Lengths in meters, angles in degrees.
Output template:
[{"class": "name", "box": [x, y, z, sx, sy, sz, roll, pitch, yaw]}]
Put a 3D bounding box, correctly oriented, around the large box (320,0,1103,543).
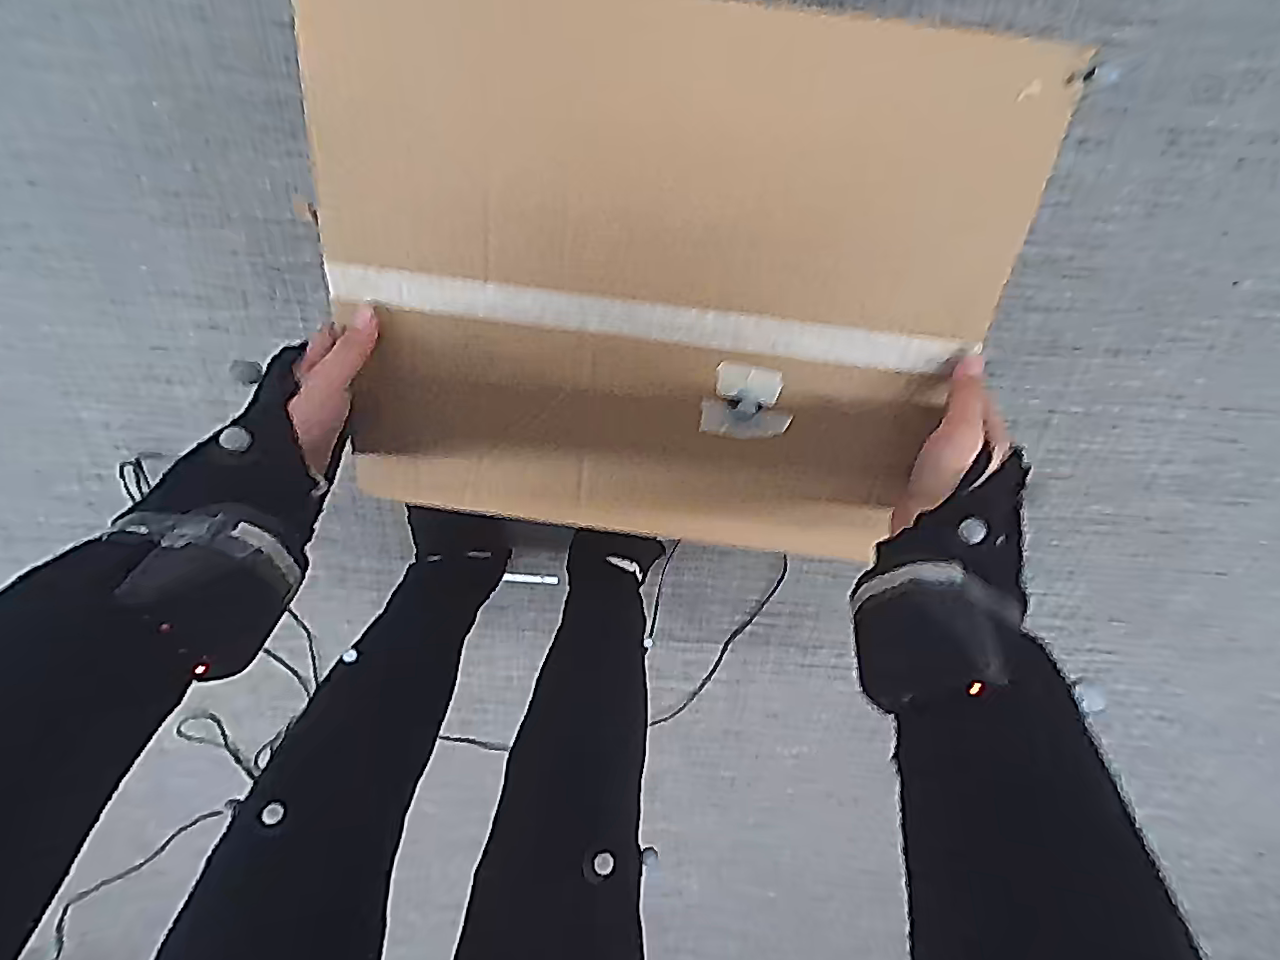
[{"class": "large box", "box": [0.024, -0.174, 0.464, 0.408, 0.320, 0.320, 7, 116, 0]}]
